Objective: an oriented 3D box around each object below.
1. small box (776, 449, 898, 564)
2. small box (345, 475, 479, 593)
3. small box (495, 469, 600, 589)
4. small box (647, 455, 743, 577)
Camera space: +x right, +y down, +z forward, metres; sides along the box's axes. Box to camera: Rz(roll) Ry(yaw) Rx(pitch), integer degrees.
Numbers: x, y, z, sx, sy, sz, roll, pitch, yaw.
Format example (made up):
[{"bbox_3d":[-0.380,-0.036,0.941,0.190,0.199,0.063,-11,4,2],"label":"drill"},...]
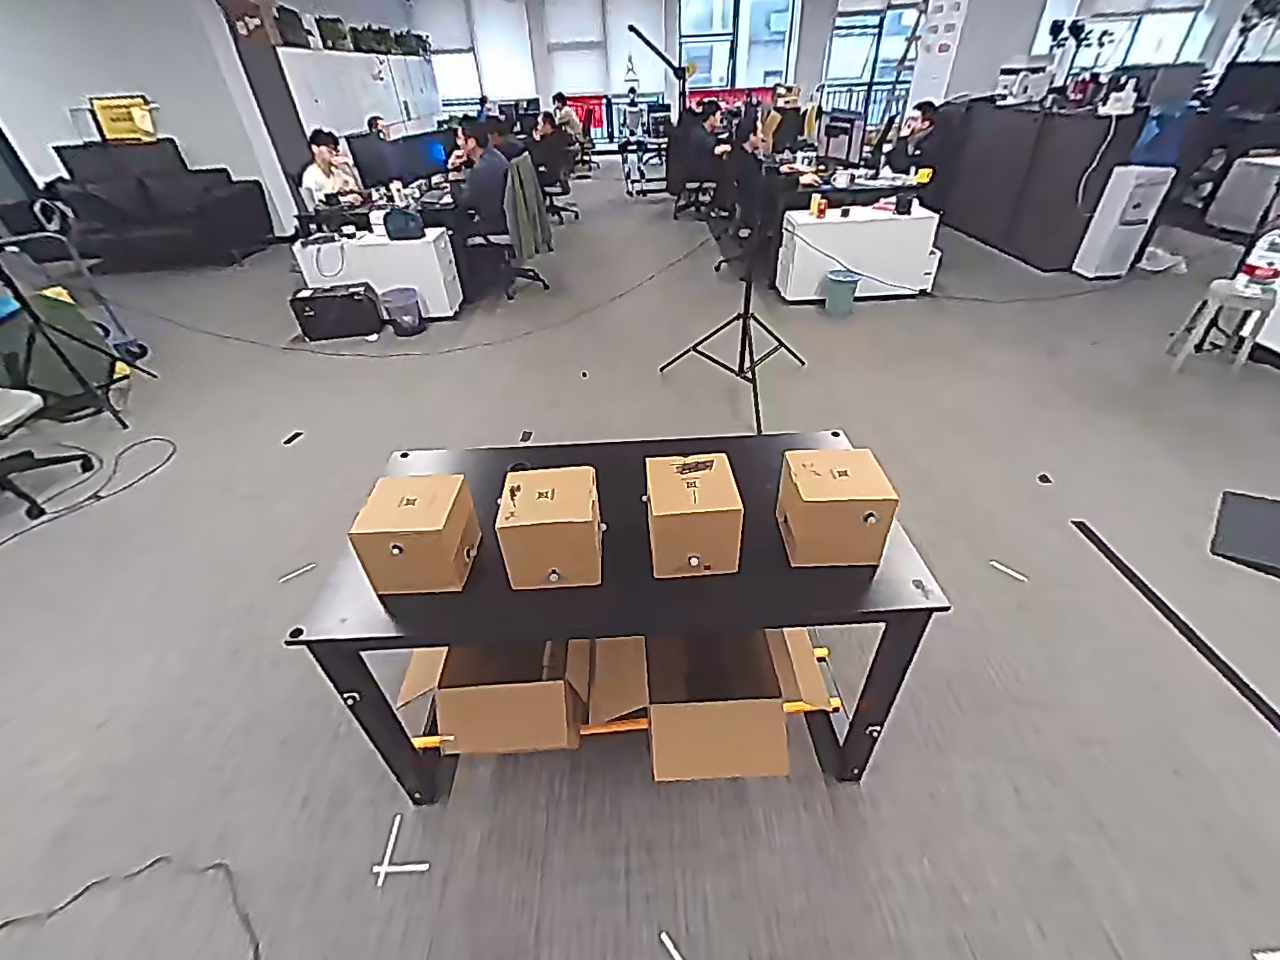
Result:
[{"bbox_3d":[0.380,0.053,1.076,0.179,0.176,0.168,-2,36,2],"label":"small box"},{"bbox_3d":[-0.434,0.108,1.062,0.179,0.176,0.168,-2,38,0],"label":"small box"},{"bbox_3d":[-0.170,0.096,1.061,0.179,0.176,0.168,-3,37,-2],"label":"small box"},{"bbox_3d":[0.100,0.070,1.076,0.168,0.176,0.179,-4,37,-2],"label":"small box"}]
